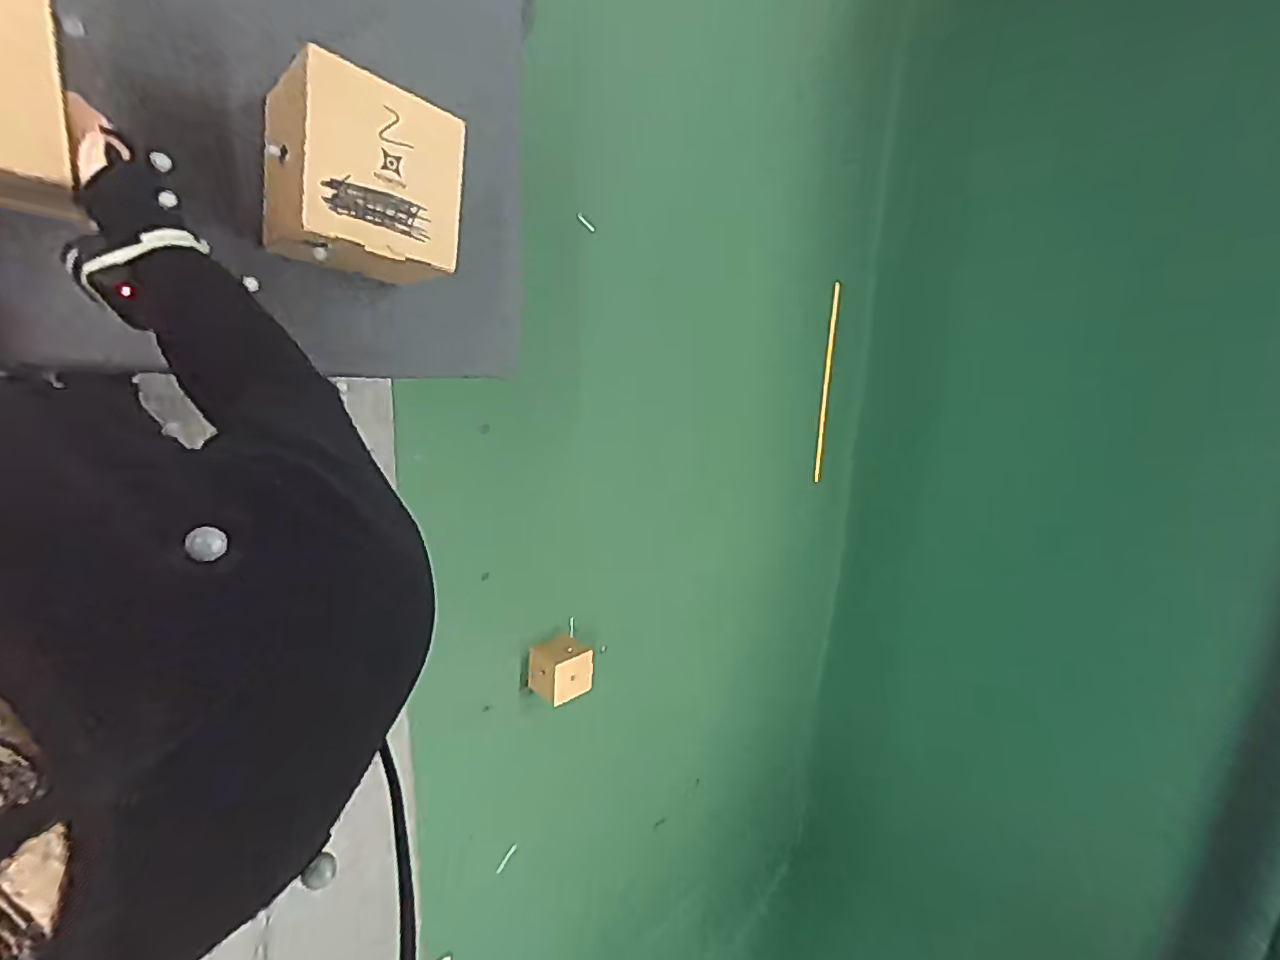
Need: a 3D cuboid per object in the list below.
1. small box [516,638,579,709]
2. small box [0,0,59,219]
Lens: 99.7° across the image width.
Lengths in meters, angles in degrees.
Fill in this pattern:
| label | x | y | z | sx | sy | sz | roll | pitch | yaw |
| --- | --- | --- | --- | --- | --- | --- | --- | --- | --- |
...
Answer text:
| label | x | y | z | sx | sy | sz | roll | pitch | yaw |
| --- | --- | --- | --- | --- | --- | --- | --- | --- | --- |
| small box | -0.349 | 0.716 | 2.017 | 0.179 | 0.176 | 0.168 | -9 | 106 | -48 |
| small box | -0.564 | -0.318 | 0.403 | 0.168 | 0.176 | 0.179 | -7 | 104 | -45 |
